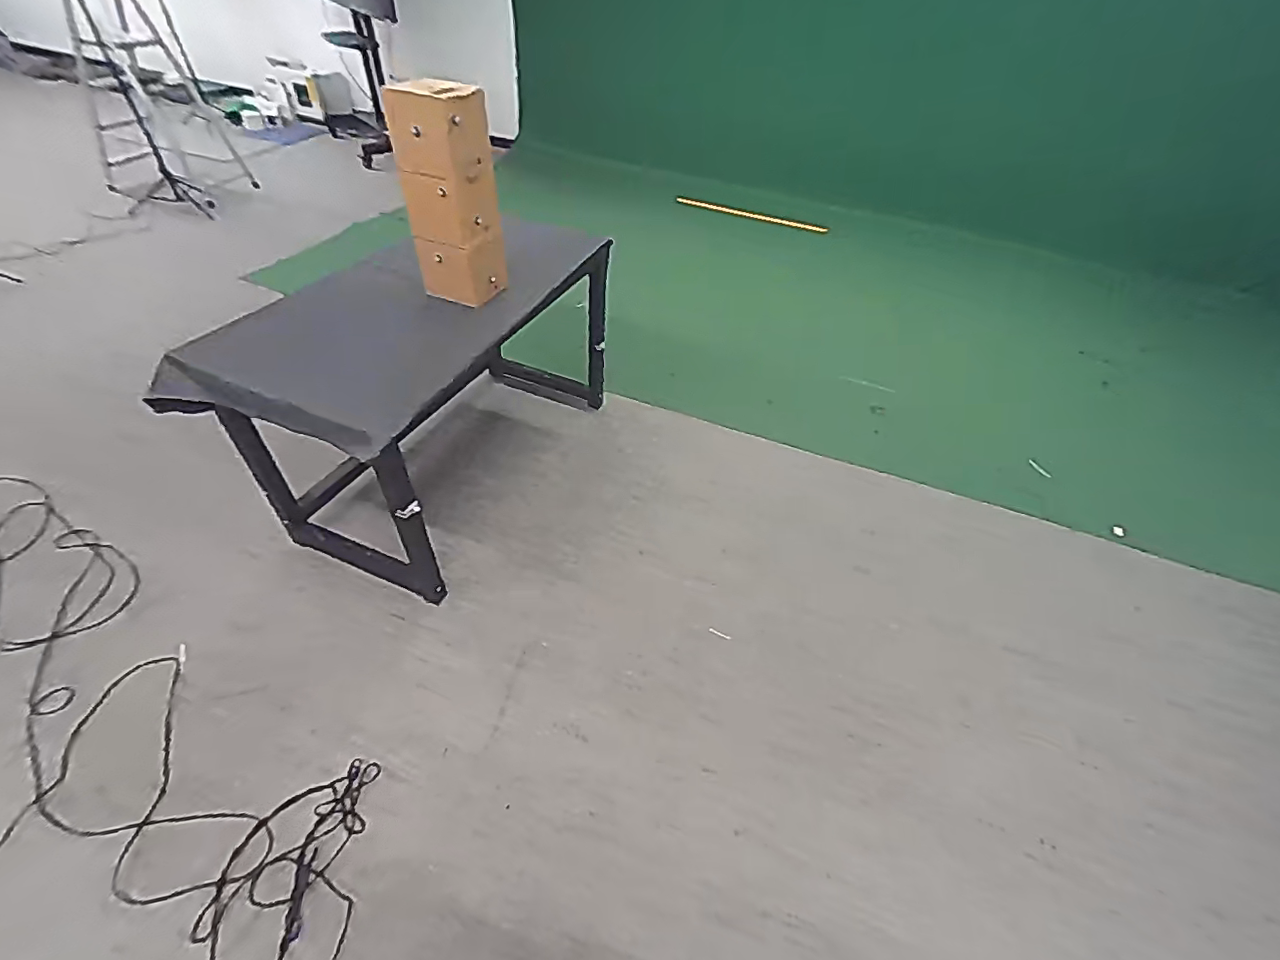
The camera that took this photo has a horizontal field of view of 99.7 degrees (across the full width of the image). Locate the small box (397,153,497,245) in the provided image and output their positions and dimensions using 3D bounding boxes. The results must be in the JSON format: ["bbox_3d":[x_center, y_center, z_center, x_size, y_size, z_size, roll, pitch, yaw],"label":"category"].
[{"bbox_3d":[-0.501,-0.741,1.428,0.179,0.176,0.168,19,46,12],"label":"small box"}]

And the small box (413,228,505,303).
[{"bbox_3d":[-0.508,-0.625,1.541,0.179,0.176,0.168,19,47,13],"label":"small box"}]
